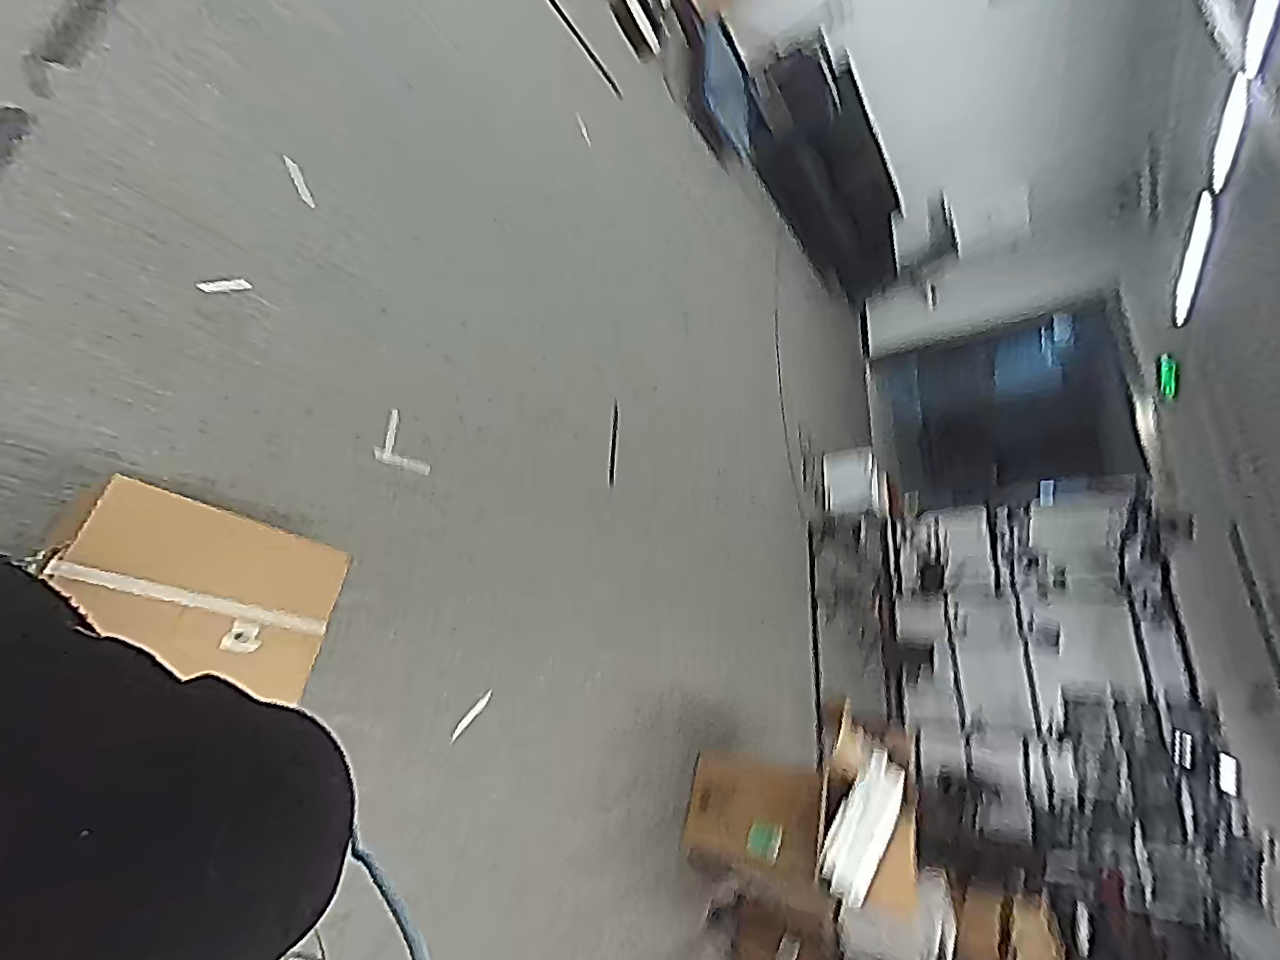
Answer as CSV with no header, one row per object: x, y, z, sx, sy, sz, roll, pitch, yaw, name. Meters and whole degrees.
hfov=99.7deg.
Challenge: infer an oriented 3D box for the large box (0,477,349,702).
-0.864,0.229,1.020,0.408,0.320,0.320,36,54,-46,large box
